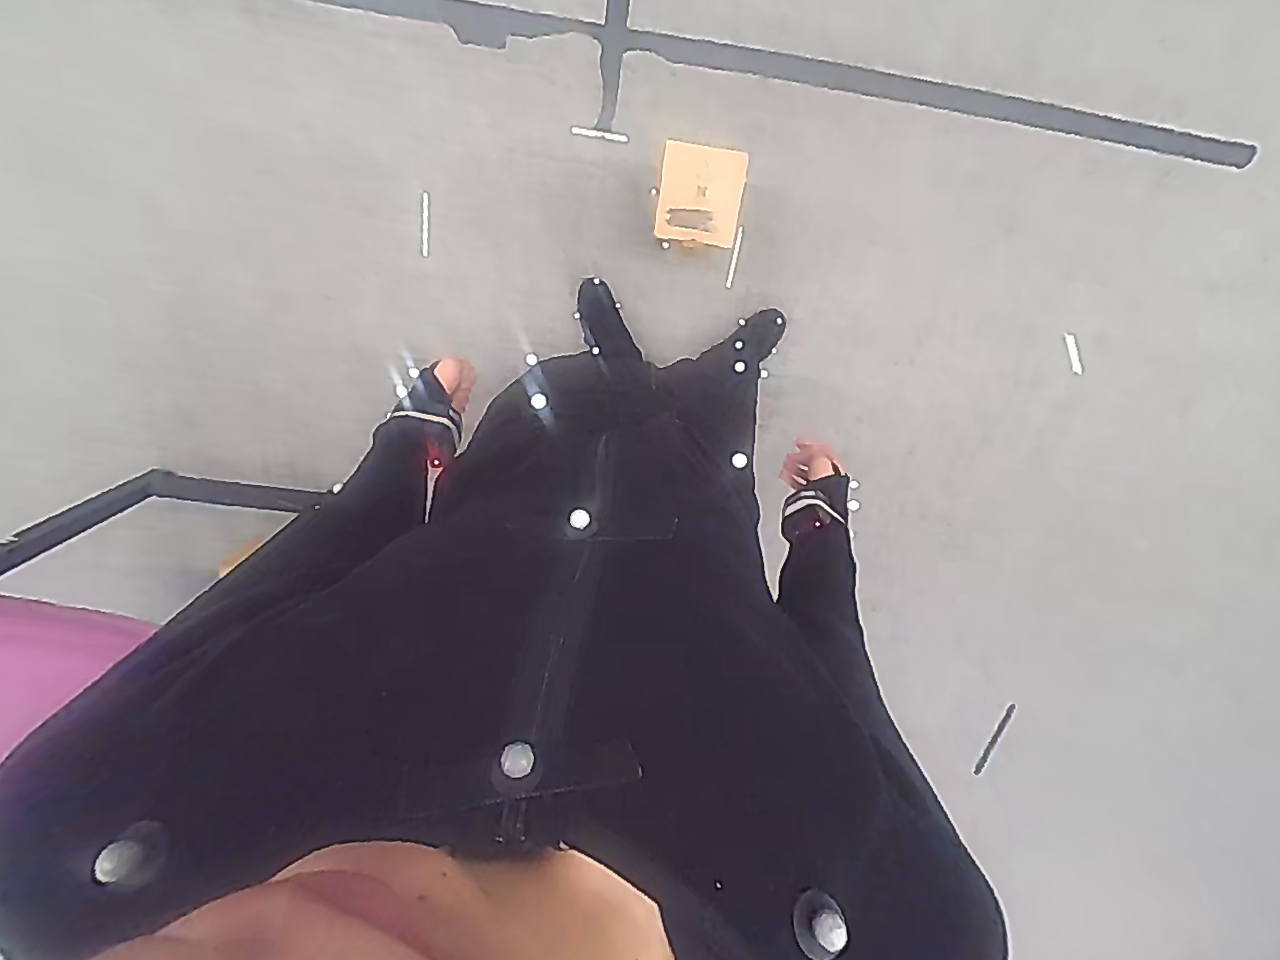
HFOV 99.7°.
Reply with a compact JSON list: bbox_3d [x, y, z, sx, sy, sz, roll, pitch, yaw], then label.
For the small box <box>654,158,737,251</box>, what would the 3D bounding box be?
[{"bbox_3d":[0.125,-0.657,1.300,0.168,0.176,0.179,5,115,-3],"label":"small box"}]
